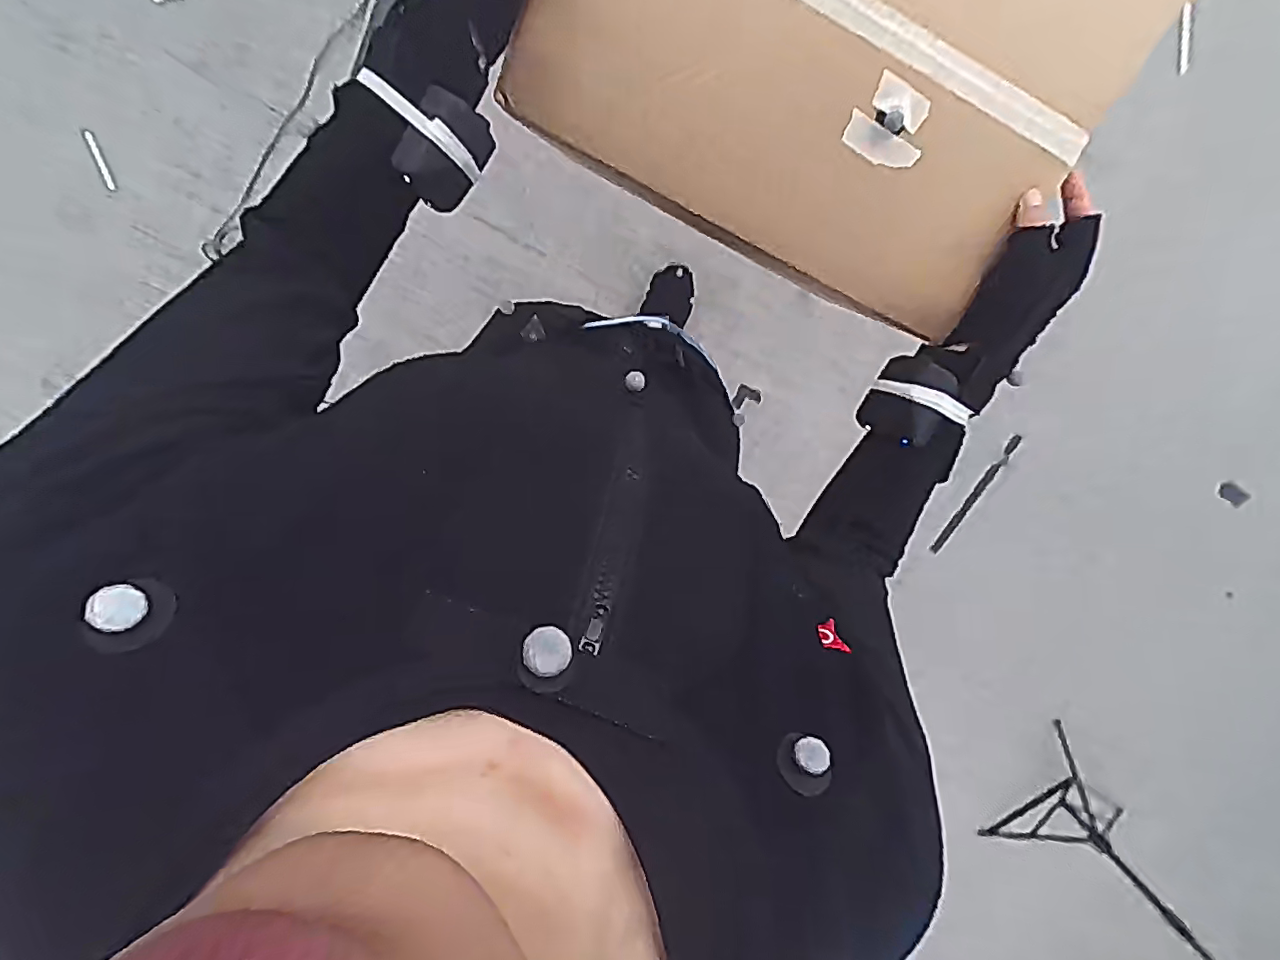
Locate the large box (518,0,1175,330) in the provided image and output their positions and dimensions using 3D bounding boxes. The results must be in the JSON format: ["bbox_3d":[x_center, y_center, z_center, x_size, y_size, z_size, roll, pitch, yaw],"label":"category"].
[{"bbox_3d":[0.150,-0.392,0.514,0.408,0.320,0.320,24,114,-10],"label":"large box"}]
